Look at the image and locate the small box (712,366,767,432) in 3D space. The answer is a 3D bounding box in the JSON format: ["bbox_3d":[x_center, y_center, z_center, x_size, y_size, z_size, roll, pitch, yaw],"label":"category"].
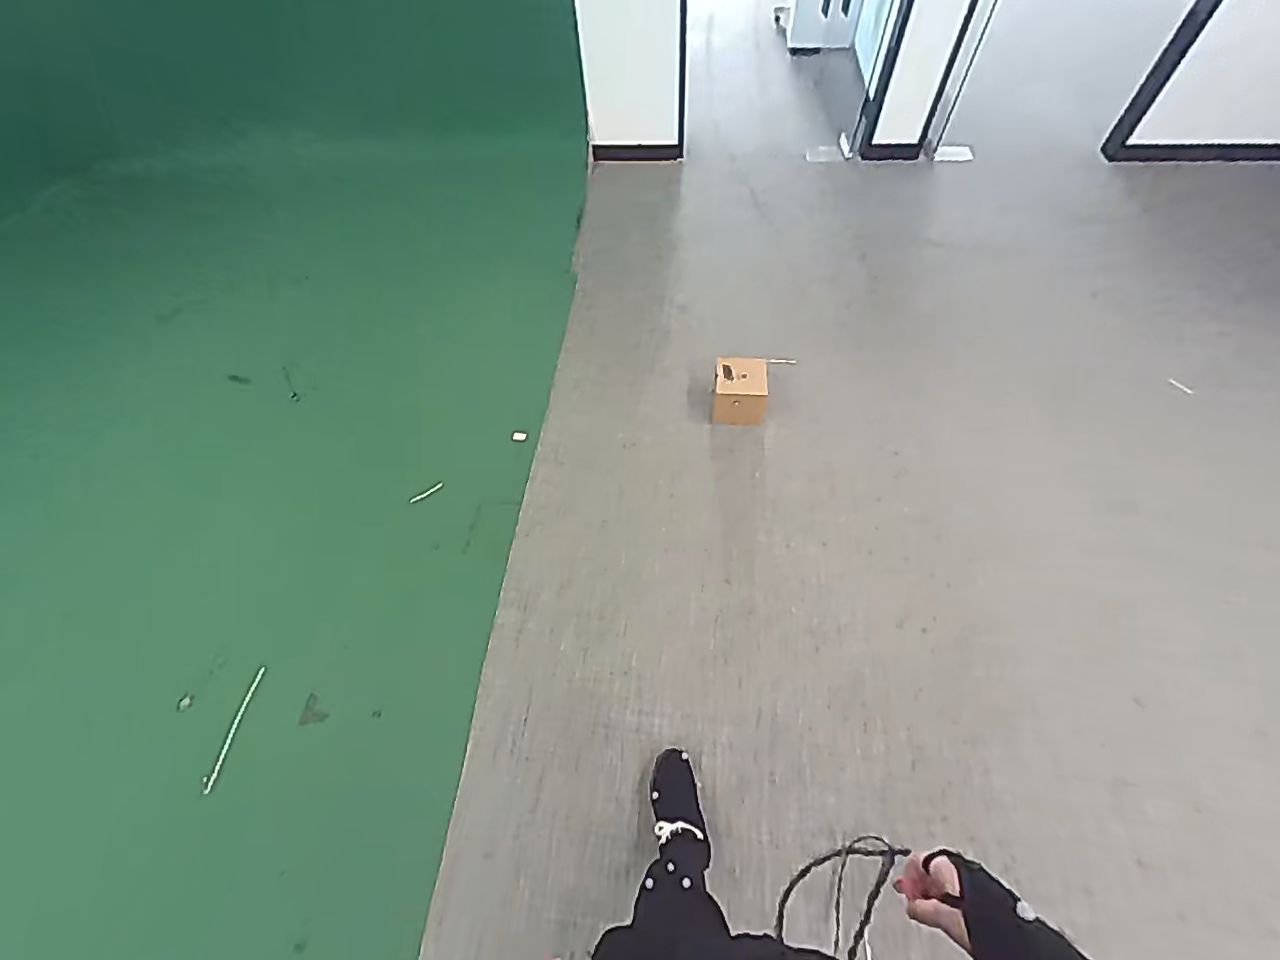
[{"bbox_3d":[0.352,-0.286,1.933,0.179,0.176,0.168,3,58,4],"label":"small box"}]
